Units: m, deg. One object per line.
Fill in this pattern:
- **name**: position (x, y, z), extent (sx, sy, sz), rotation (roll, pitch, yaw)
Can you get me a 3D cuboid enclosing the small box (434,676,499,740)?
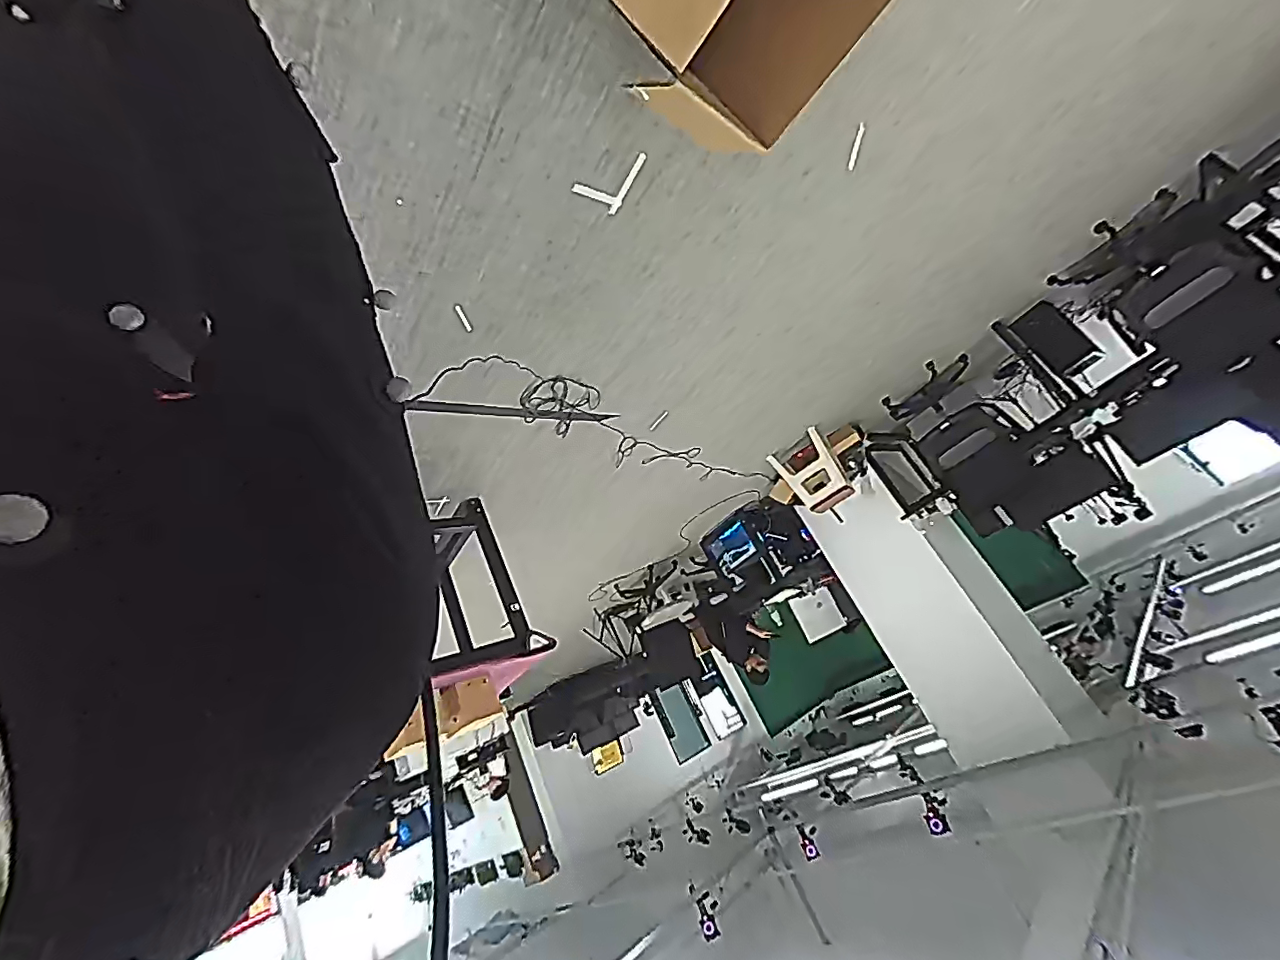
- **small box**: position (-0.697, 0.900, 2.156), extent (0.168, 0.176, 0.179), rotation (2, 143, -49)
